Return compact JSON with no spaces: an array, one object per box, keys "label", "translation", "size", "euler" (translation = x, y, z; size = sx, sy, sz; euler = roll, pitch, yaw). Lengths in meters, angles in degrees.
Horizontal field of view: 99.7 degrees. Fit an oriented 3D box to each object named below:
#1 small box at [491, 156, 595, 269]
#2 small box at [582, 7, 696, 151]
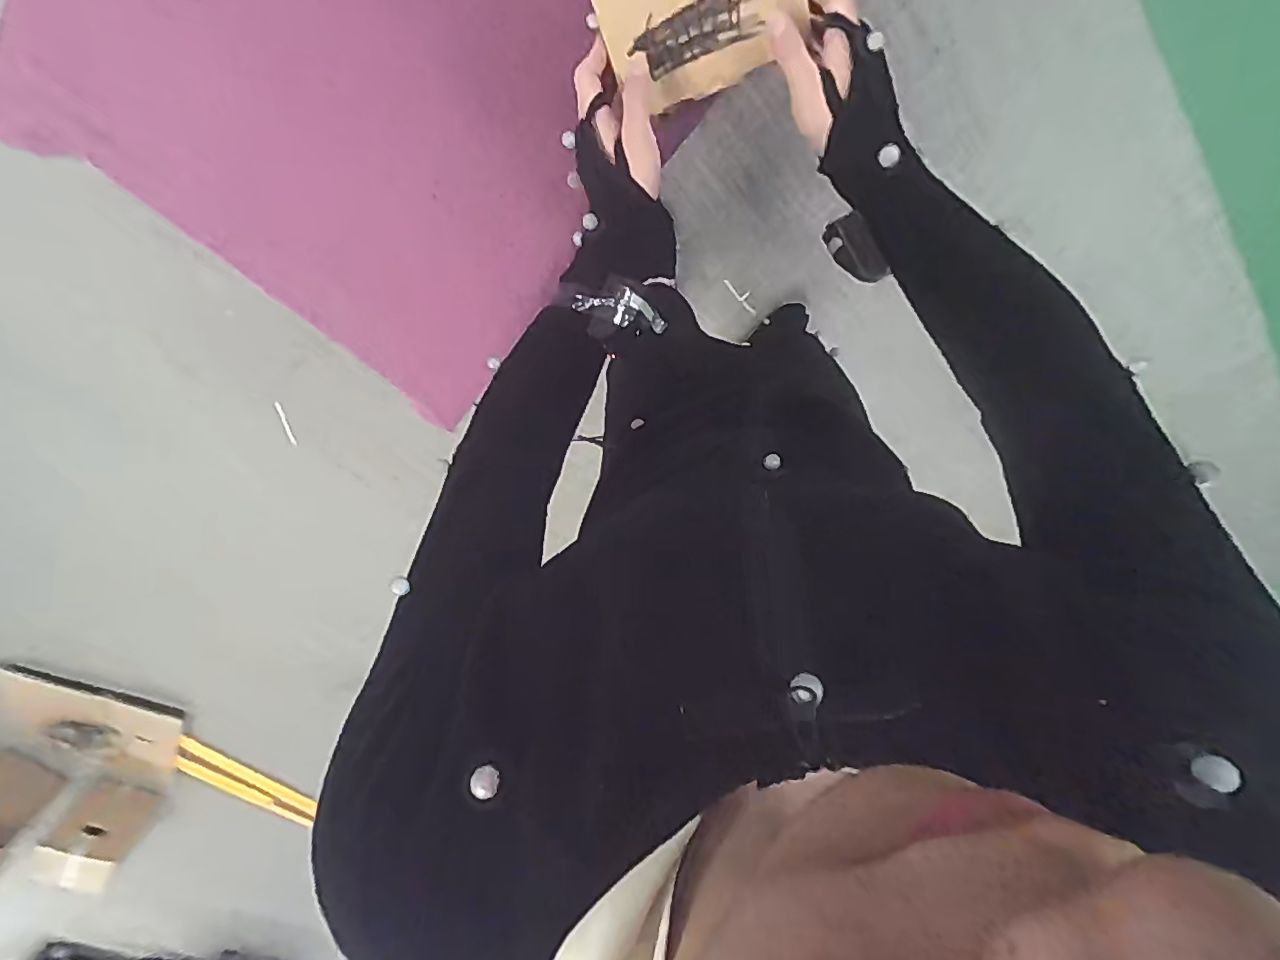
[{"label":"small box","translation":[-0.217,-0.629,1.263],"size":[0.179,0.176,0.168],"euler":[31,116,-18]},{"label":"small box","translation":[-0.005,-0.834,1.143],"size":[0.168,0.176,0.179],"euler":[33,116,-18]}]
